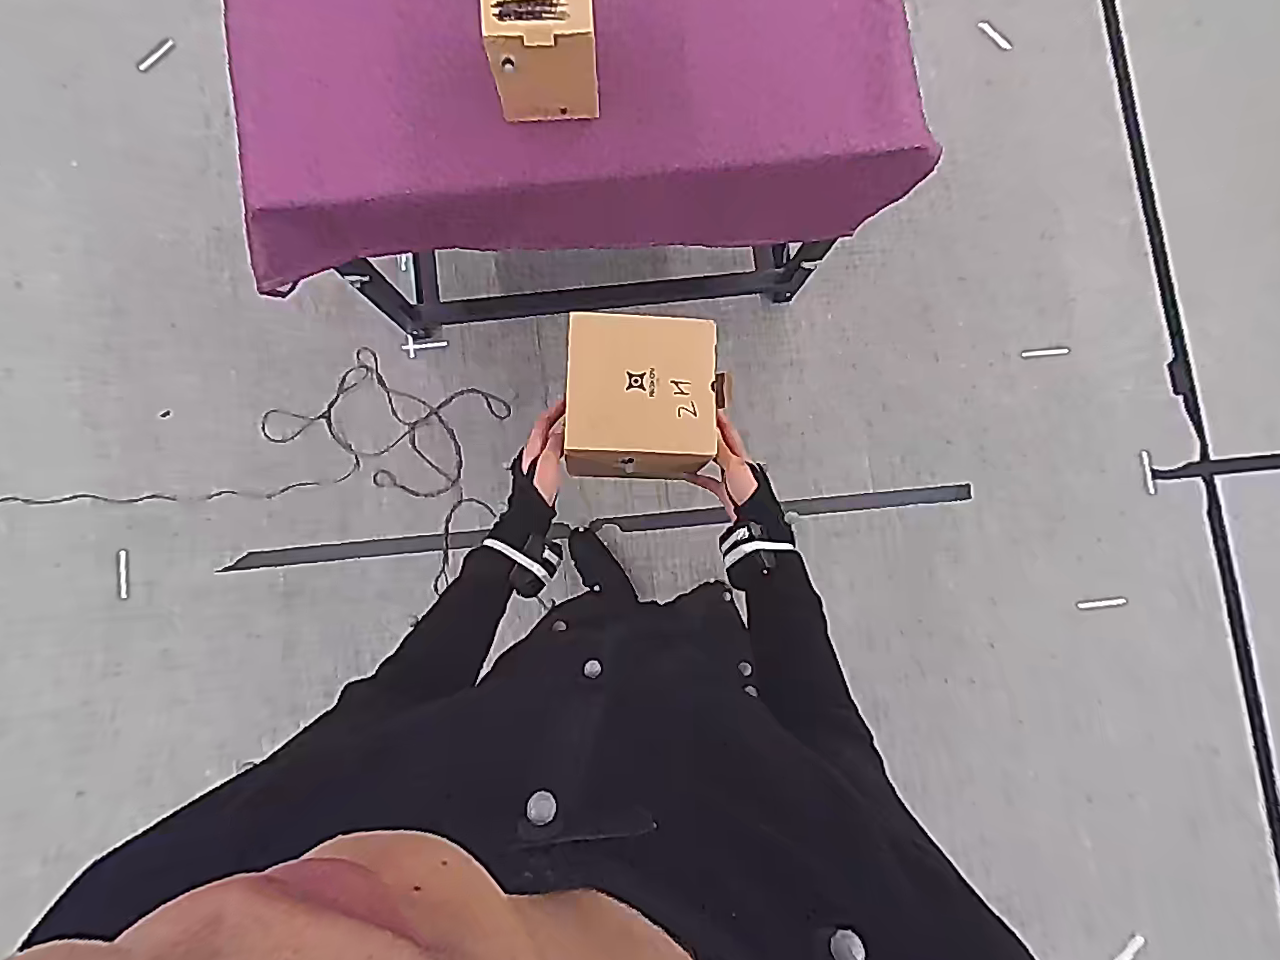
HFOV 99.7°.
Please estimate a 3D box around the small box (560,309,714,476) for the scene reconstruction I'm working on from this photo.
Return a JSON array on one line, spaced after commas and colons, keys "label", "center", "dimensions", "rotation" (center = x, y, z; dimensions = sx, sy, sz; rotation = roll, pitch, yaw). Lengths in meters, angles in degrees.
[{"label": "small box", "center": [-0.008, -0.101, 0.698], "dimensions": [0.179, 0.176, 0.168], "rotation": [2, 80, -6]}]
